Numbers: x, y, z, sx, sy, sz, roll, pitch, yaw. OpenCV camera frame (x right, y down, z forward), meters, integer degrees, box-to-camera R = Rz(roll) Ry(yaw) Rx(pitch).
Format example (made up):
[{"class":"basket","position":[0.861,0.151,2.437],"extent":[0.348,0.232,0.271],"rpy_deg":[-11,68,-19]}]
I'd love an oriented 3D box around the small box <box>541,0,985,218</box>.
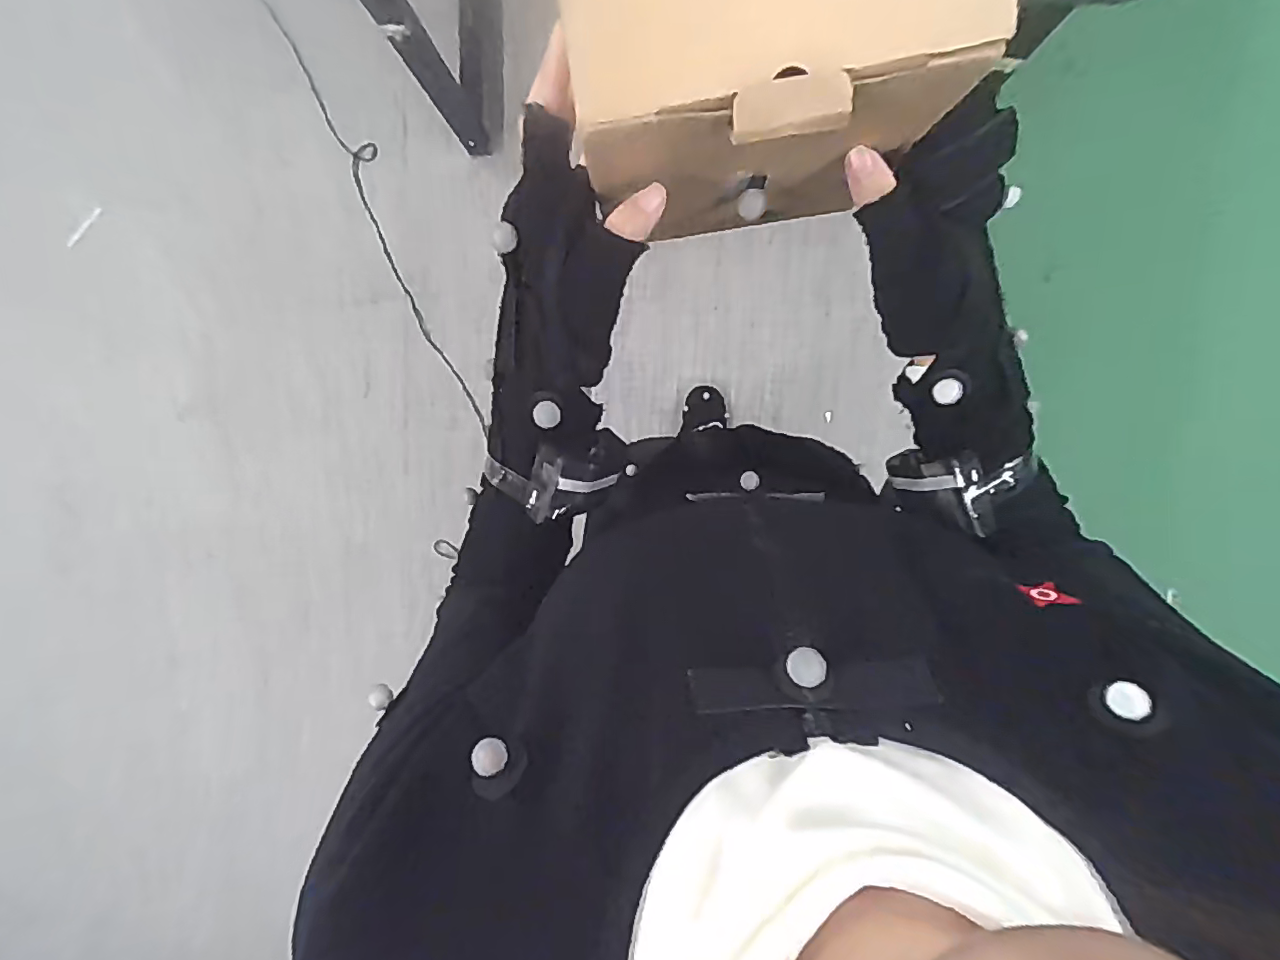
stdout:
[{"class":"small box","position":[0.041,-0.249,0.271],"extent":[0.168,0.176,0.179],"rpy_deg":[-7,99,3]}]
